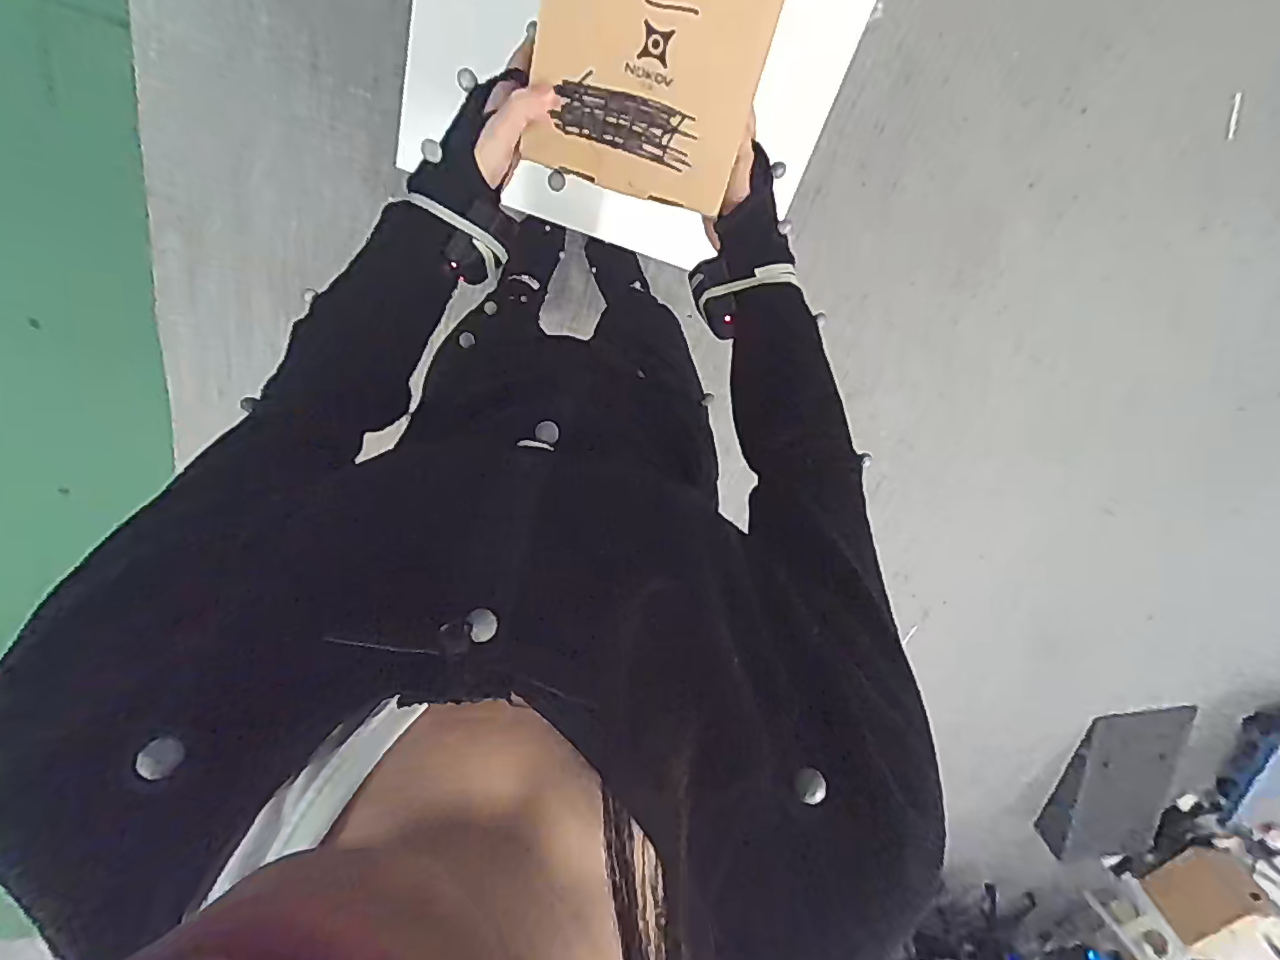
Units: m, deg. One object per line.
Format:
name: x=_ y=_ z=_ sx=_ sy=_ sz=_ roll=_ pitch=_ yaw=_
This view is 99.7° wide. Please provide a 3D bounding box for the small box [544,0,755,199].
small box: x=-0.002 y=-0.430 z=0.589 sx=0.168 sy=0.176 sz=0.179 roll=14 pitch=118 yaw=-13
